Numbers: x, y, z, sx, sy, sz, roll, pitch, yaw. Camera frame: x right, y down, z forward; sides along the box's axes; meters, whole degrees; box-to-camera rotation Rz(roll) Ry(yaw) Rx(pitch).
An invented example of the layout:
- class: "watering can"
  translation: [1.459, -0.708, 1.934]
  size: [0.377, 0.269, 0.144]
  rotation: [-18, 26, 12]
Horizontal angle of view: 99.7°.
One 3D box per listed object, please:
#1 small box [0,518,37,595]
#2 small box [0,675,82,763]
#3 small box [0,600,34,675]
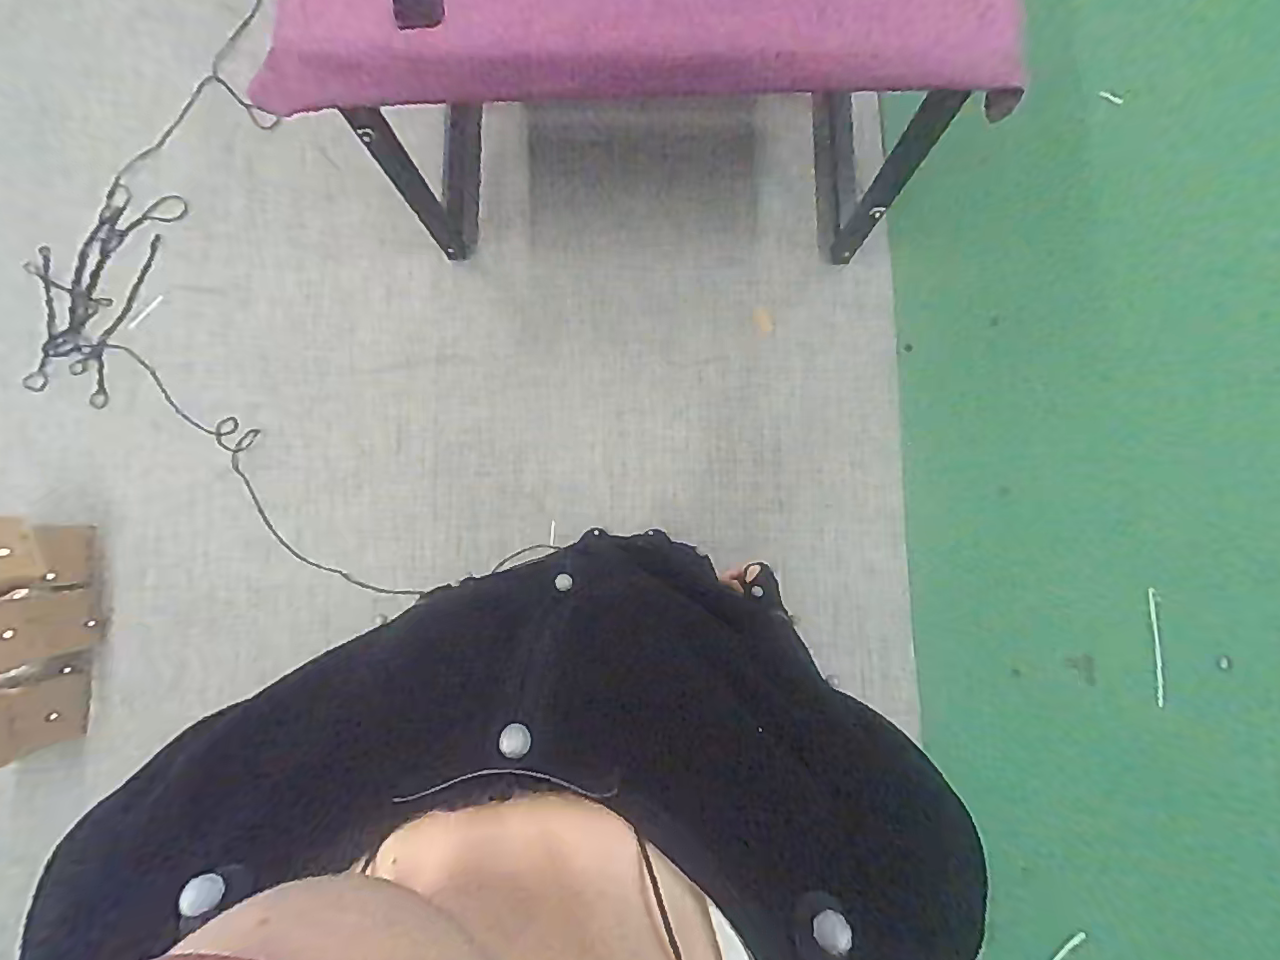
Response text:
- class: "small box"
  translation: [-1.607, 0.196, 1.282]
  size: [0.179, 0.176, 0.168]
  rotation: [-26, 86, -1]
- class: "small box"
  translation: [-1.621, 0.615, 1.408]
  size: [0.168, 0.176, 0.179]
  rotation: [-1, 85, 1]
- class: "small box"
  translation: [-1.591, 0.392, 1.265]
  size: [0.179, 0.176, 0.168]
  rotation: [-18, 85, -1]
